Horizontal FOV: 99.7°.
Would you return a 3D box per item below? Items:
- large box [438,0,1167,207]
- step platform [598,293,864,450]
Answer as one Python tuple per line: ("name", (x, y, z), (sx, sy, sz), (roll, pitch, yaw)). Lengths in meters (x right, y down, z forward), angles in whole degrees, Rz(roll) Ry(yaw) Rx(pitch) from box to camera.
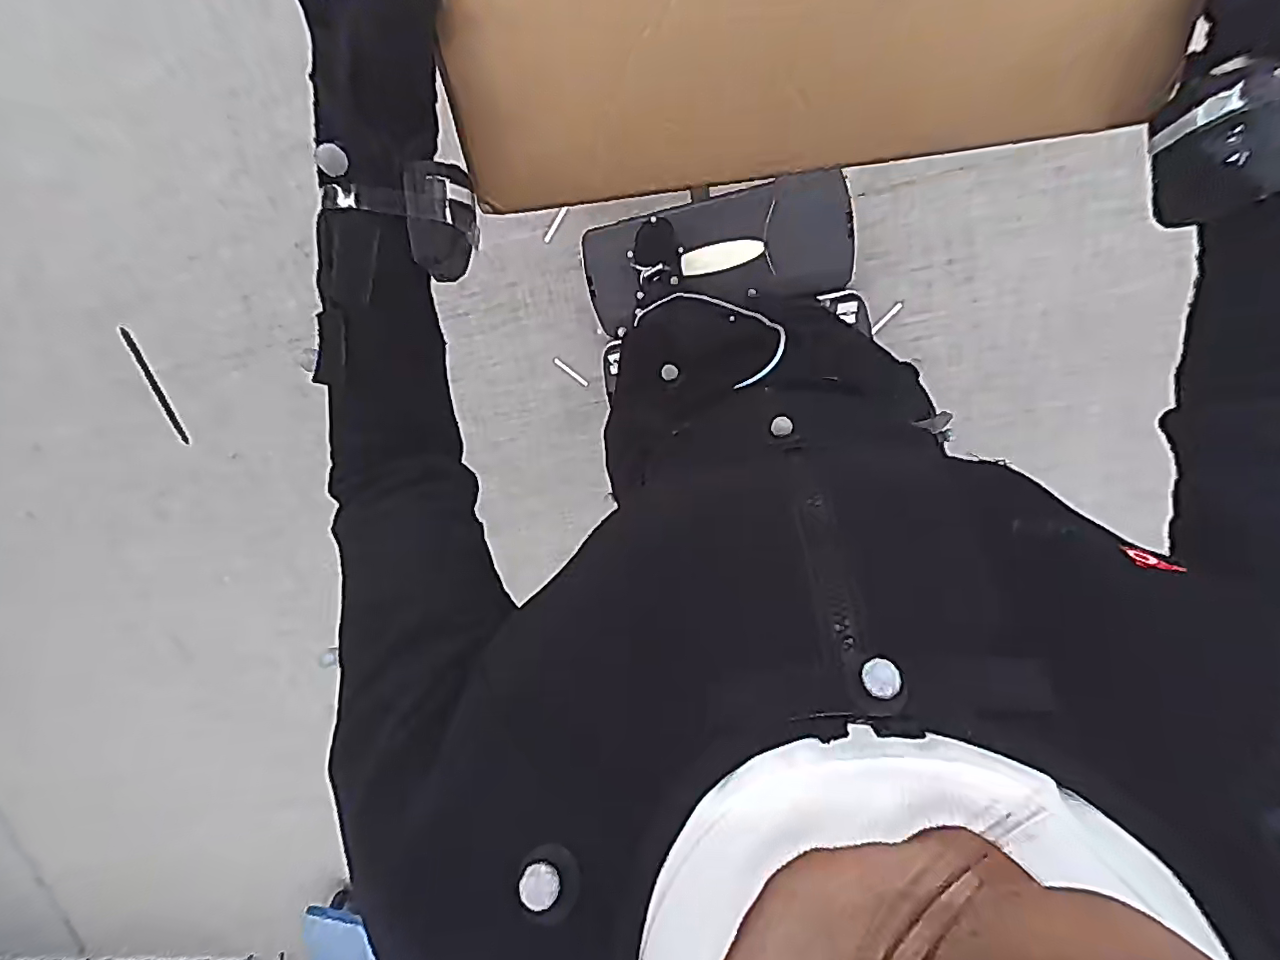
("large box", (0.083, -0.414, 0.383), (0.408, 0.320, 0.320), (-4, 125, 9))
("step platform", (0.232, -0.283, 1.451), (0.684, 0.204, 0.286), (-10, 110, 13))
